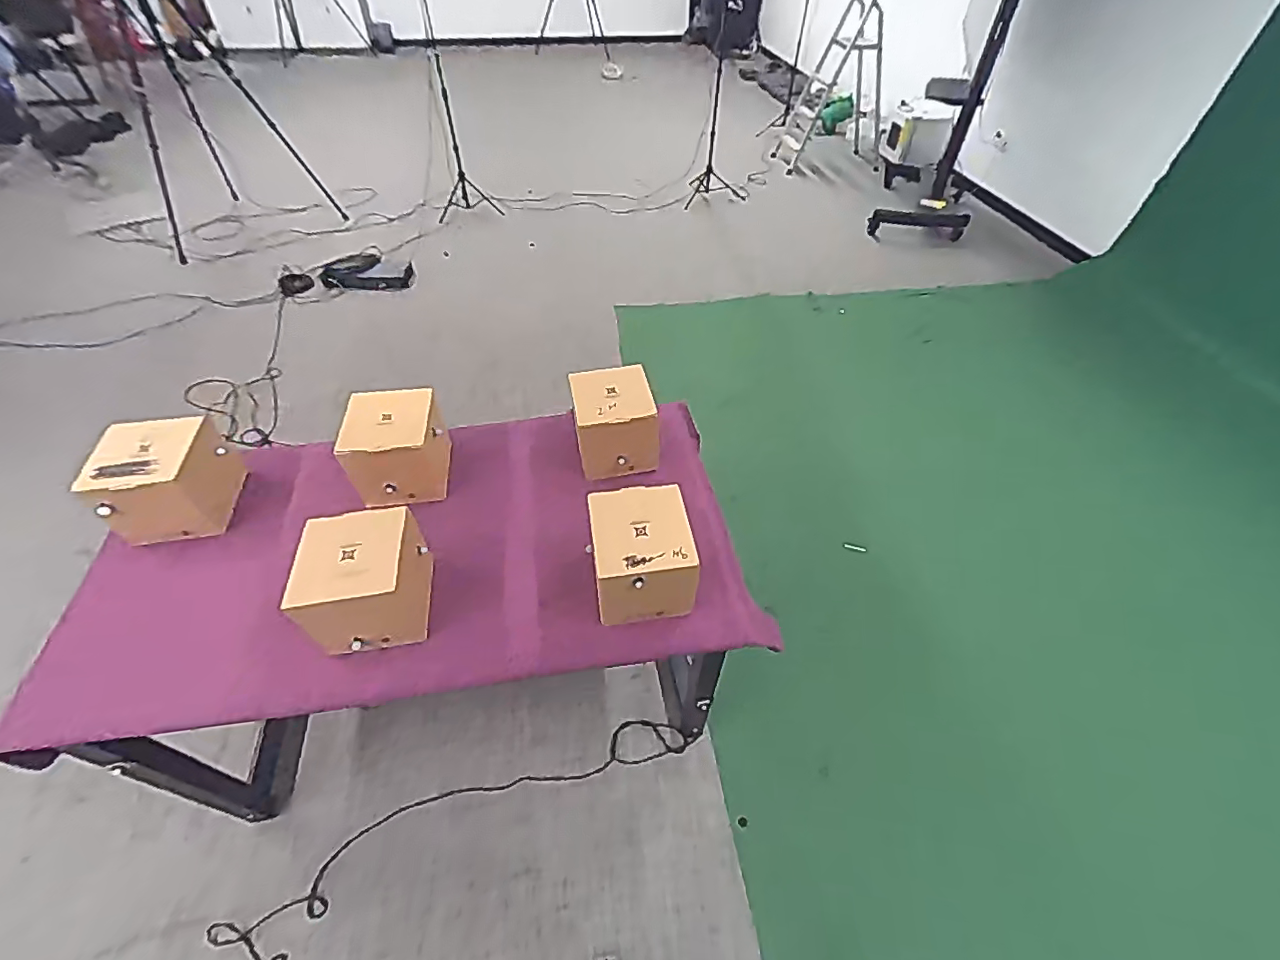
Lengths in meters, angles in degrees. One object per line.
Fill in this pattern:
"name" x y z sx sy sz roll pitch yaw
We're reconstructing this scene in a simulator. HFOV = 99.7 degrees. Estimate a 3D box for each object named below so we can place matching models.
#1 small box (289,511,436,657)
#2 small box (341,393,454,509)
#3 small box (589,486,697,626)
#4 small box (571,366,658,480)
"small box" -0.464 0.181 0.939 0.168 0.176 0.179 -8 48 -6
"small box" -0.505 -0.061 1.155 0.168 0.176 0.179 -6 51 -5
"small box" 0.002 0.136 0.970 0.168 0.176 0.179 -7 49 -4
"small box" -0.056 -0.126 1.202 0.168 0.176 0.179 -10 50 -5
